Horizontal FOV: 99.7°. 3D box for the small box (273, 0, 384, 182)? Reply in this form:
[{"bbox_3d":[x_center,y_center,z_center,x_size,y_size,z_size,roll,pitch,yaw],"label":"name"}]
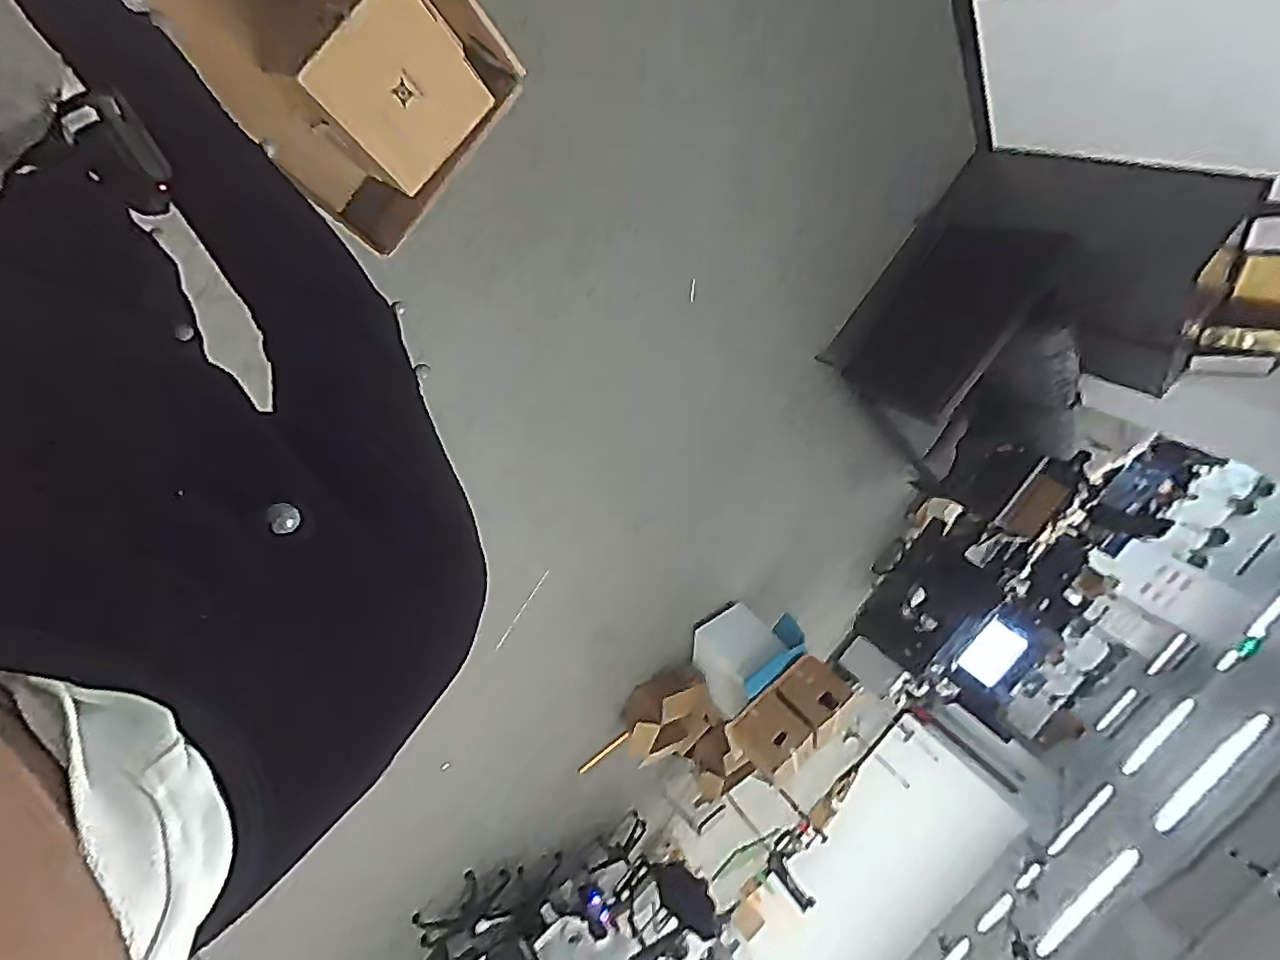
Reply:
[{"bbox_3d":[-0.423,-0.600,0.826,0.179,0.176,0.168,-48,140,-1],"label":"small box"}]

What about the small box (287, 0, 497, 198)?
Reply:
[{"bbox_3d":[-0.332,-0.518,0.719,0.179,0.176,0.168,-48,140,0],"label":"small box"}]
